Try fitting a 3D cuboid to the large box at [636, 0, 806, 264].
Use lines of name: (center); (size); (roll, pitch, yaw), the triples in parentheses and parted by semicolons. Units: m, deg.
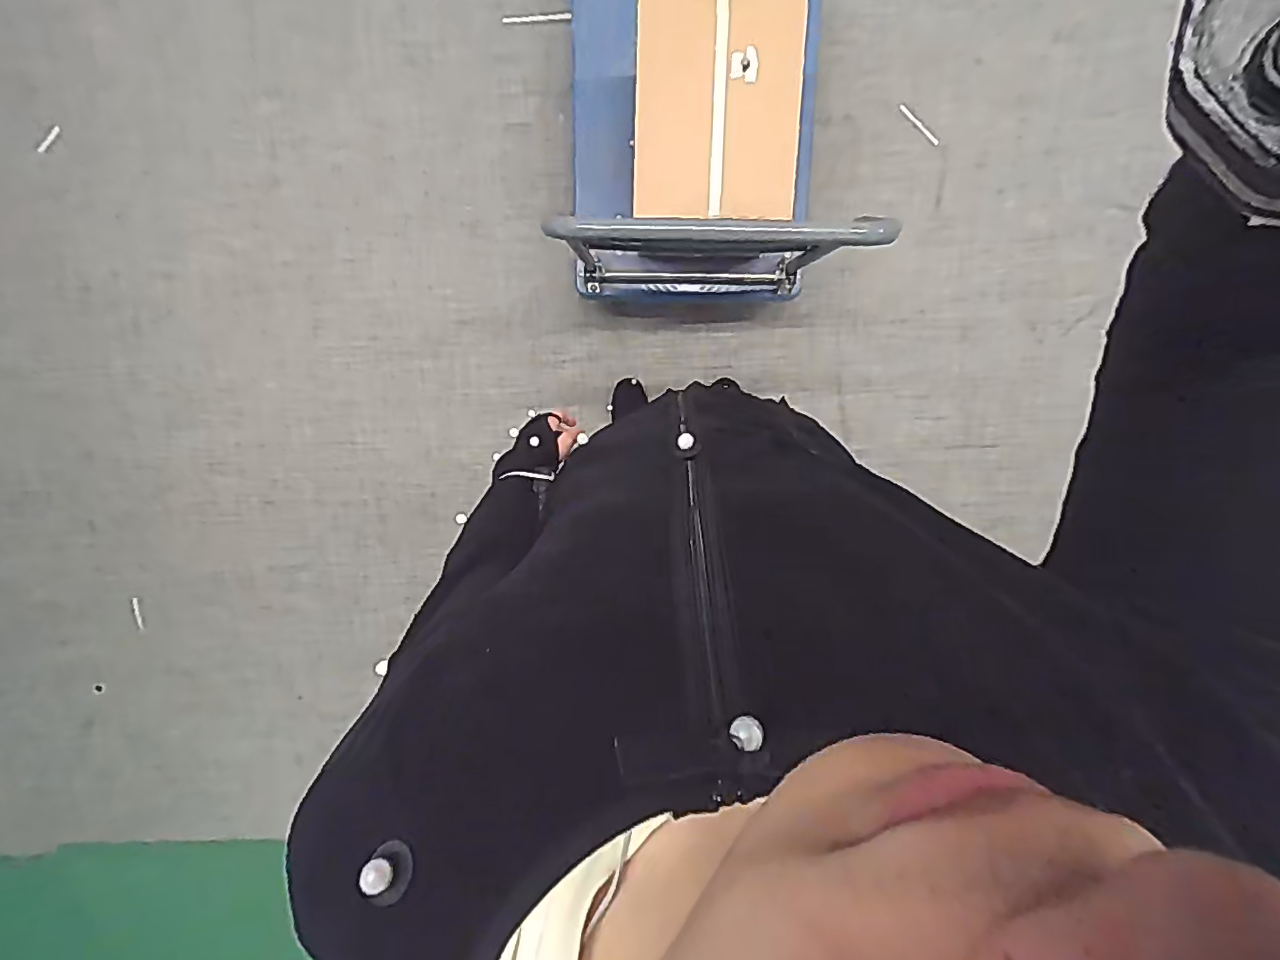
large box: (0.156, -0.709, 1.166); (0.320, 0.320, 0.408); (1, 99, 1)
